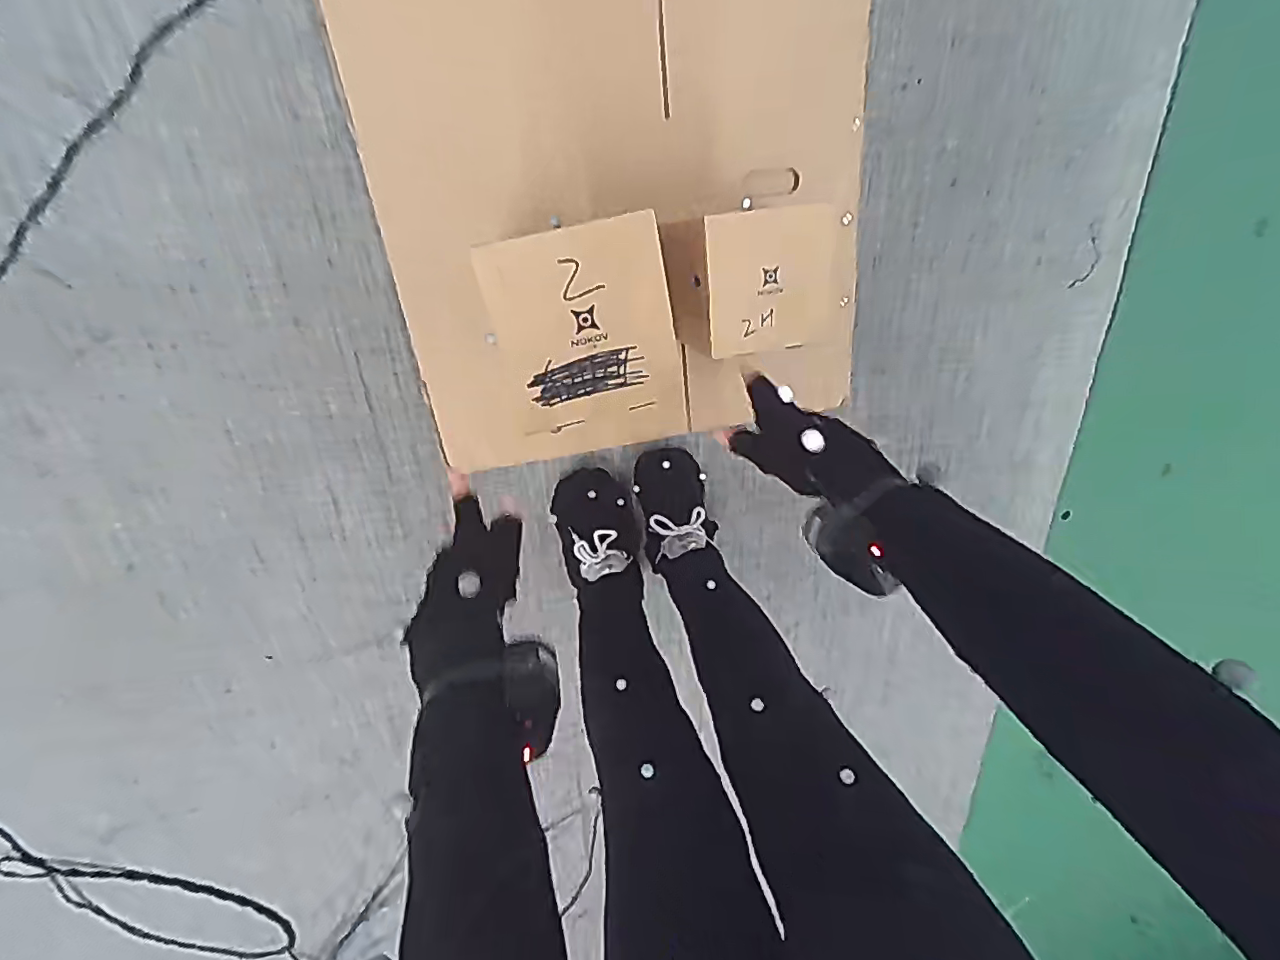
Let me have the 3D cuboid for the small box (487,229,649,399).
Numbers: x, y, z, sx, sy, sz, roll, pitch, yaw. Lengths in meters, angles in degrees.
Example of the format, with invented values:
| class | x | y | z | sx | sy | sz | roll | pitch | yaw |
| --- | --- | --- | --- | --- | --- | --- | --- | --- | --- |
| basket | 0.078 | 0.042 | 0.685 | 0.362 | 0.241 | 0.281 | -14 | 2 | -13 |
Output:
| class | x | y | z | sx | sy | sz | roll | pitch | yaw |
| --- | --- | --- | --- | --- | --- | --- | --- | --- | --- |
| small box | -0.096 | -0.228 | 0.726 | 0.168 | 0.176 | 0.179 | -15 | 115 | -6 |

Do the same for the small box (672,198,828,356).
| class | x | y | z | sx | sy | sz | roll | pitch | yaw |
| --- | --- | --- | --- | --- | --- | --- | --- | --- | --- |
| small box | 0.146 | -0.285 | 0.761 | 0.168 | 0.176 | 0.179 | -10 | 115 | -7 |
